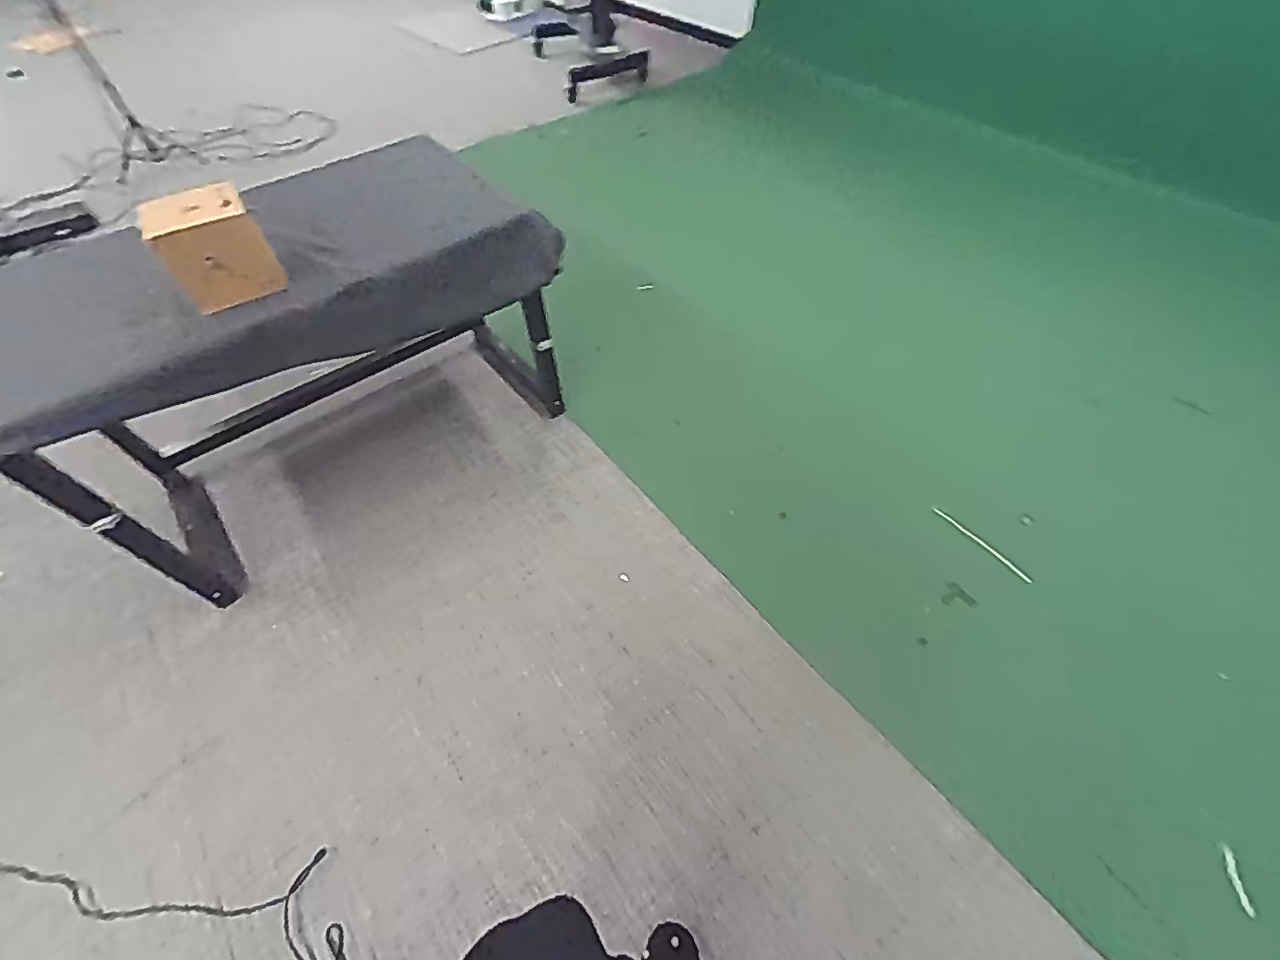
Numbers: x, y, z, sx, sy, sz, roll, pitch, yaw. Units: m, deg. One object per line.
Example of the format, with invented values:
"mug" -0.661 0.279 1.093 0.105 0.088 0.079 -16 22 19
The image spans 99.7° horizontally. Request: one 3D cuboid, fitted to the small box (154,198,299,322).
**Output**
"small box" -0.871 -0.464 1.149 0.179 0.176 0.168 -31 56 -20
